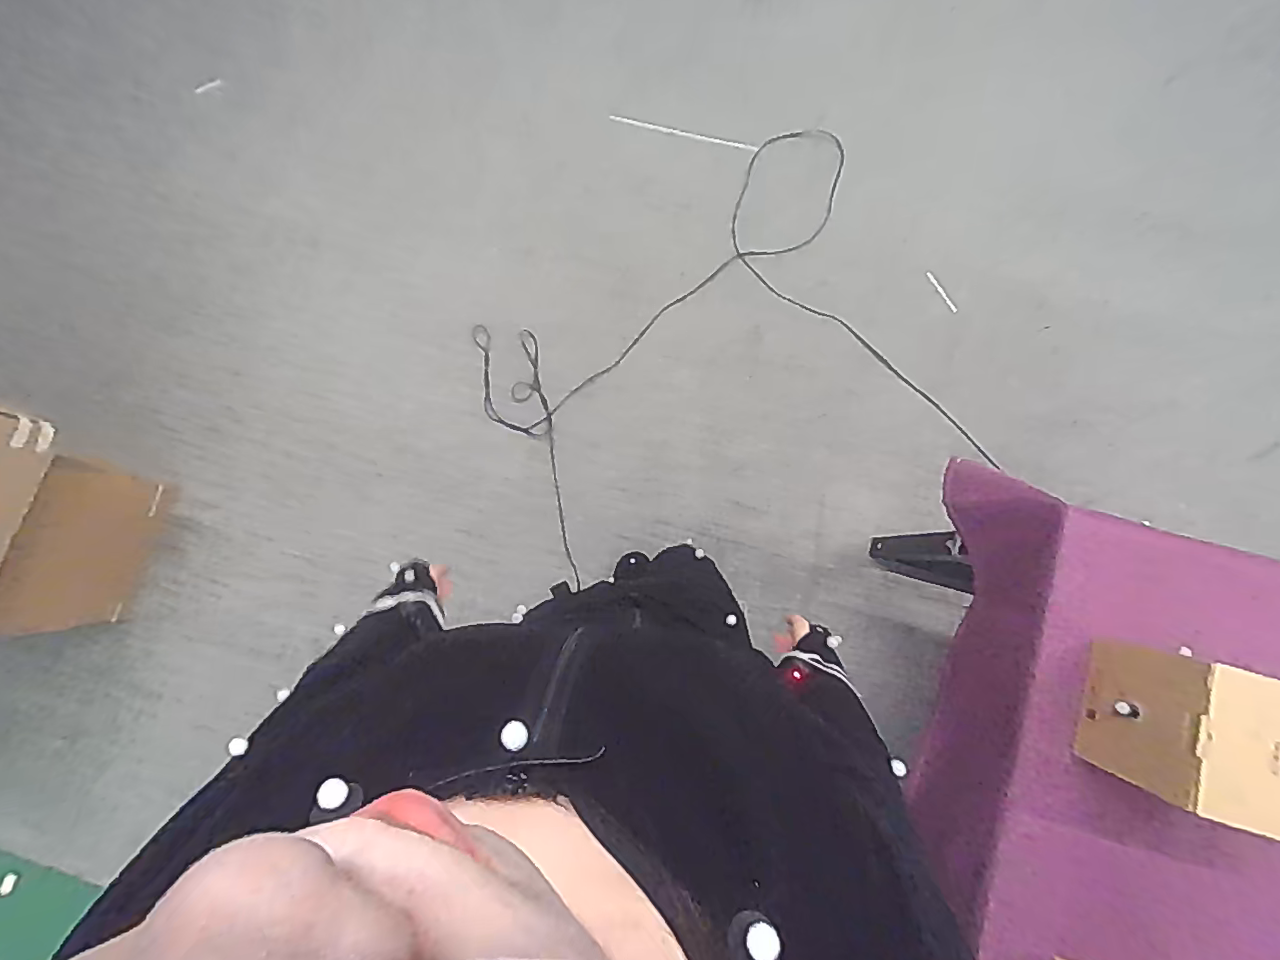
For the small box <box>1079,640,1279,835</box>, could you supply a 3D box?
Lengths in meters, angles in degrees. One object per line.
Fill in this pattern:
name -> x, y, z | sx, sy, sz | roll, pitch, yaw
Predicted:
small box -> 0.690, 0.304, 0.656 | 0.179, 0.176, 0.168 | 16, 84, 4
